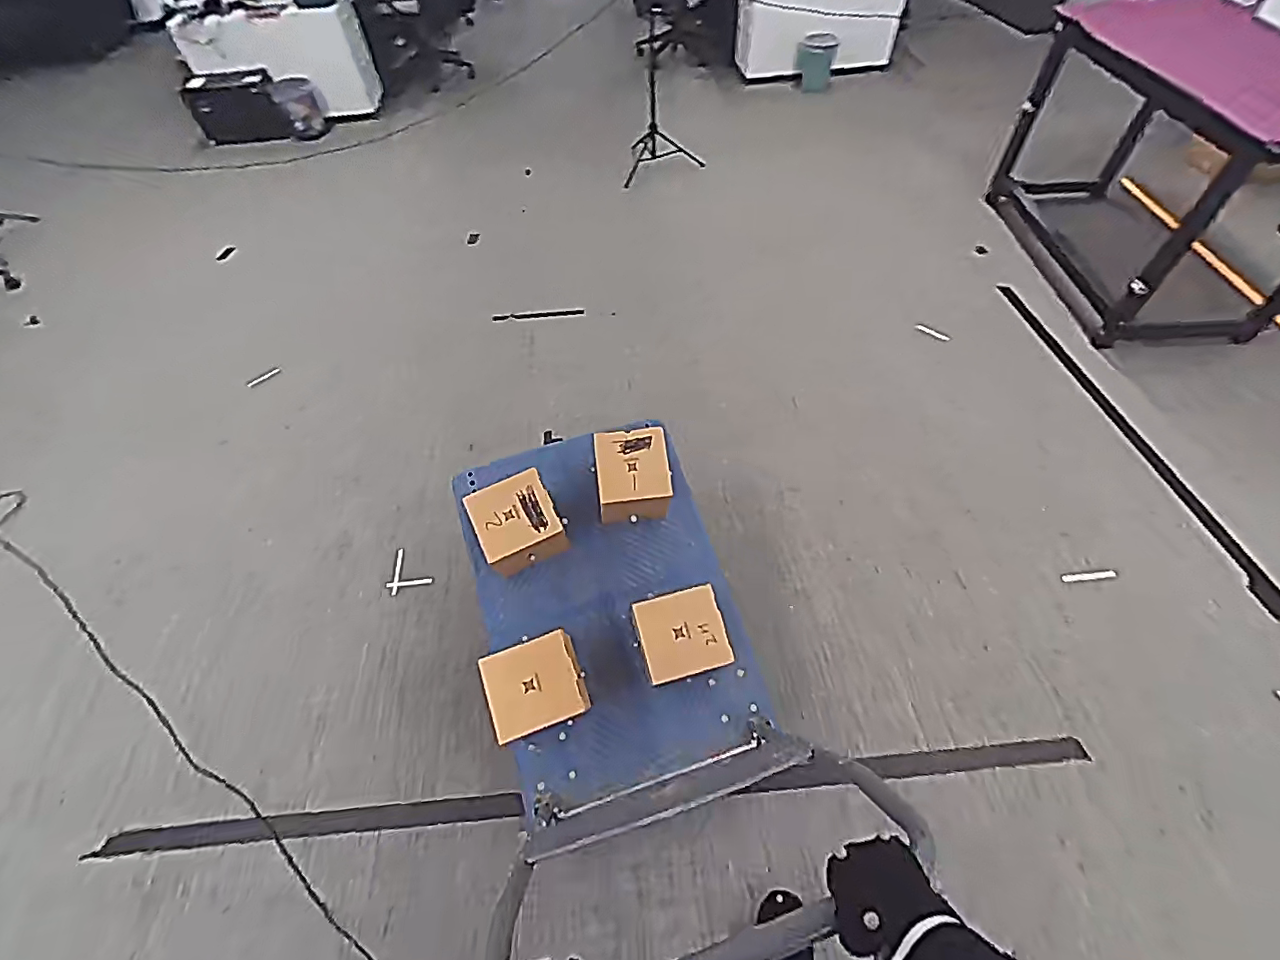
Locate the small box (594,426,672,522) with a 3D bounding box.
[{"bbox_3d":[-0.023,-0.011,1.305,0.168,0.176,0.179,-6,71,-5],"label":"small box"}]

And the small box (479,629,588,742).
[{"bbox_3d":[-0.216,0.429,1.132,0.179,0.176,0.168,-19,71,-10],"label":"small box"}]

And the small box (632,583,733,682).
[{"bbox_3d":[0.084,0.337,1.178,0.179,0.176,0.168,-14,71,-7],"label":"small box"}]
